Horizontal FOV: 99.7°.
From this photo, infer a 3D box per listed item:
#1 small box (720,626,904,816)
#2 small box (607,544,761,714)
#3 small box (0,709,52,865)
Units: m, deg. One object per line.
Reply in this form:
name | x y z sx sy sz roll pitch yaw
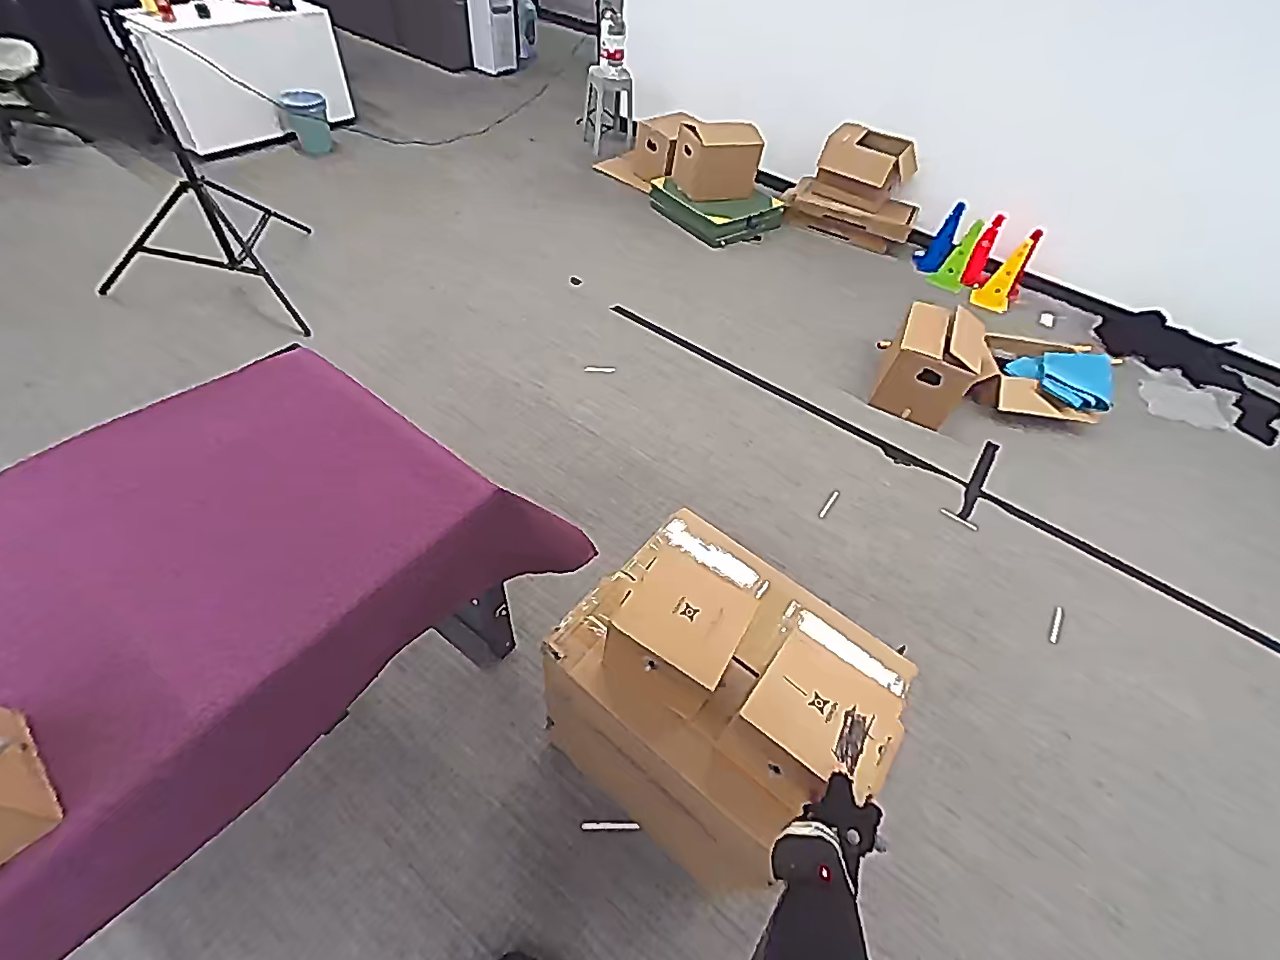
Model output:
small box | 0.240 0.355 0.787 0.179 0.176 0.168 32 53 21
small box | 0.061 0.241 0.860 0.179 0.176 0.168 30 54 15
small box | -0.752 0.329 0.535 0.168 0.176 0.179 38 54 23
